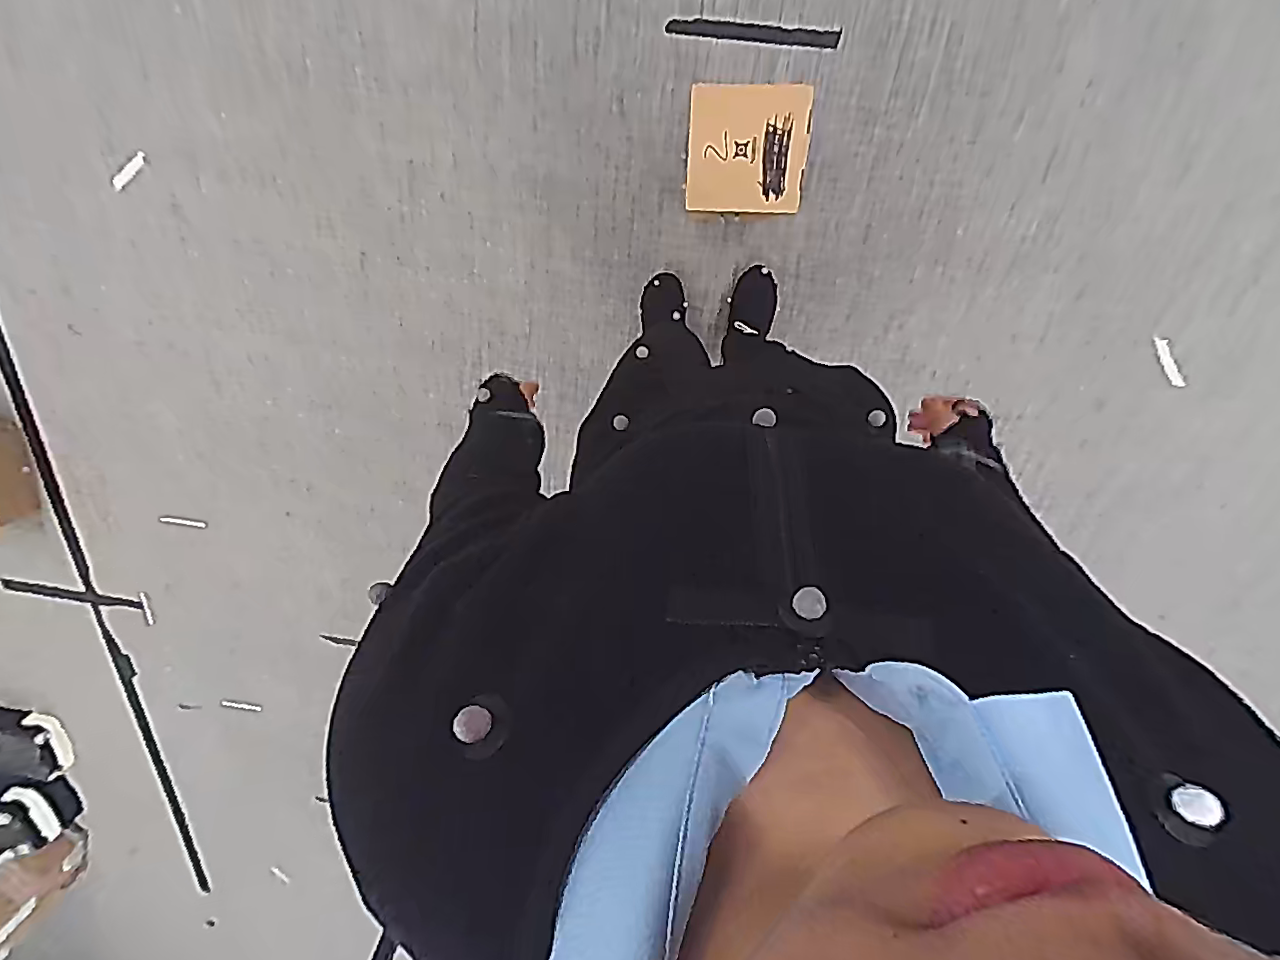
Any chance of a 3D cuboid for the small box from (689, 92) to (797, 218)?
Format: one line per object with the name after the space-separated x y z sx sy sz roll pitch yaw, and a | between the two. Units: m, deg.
0.182 -0.596 1.010 0.168 0.176 0.179 6 115 3 | small box
